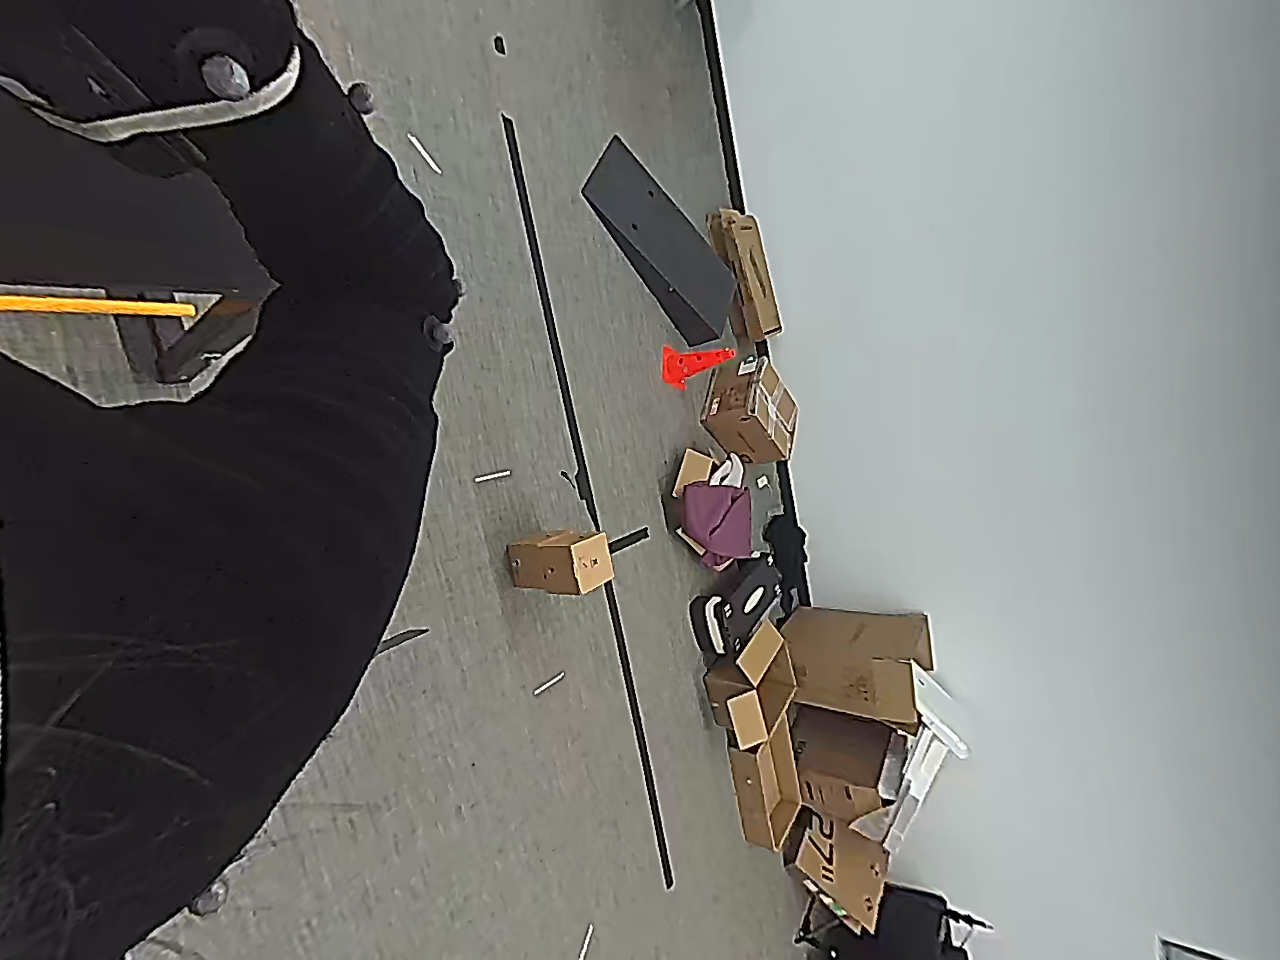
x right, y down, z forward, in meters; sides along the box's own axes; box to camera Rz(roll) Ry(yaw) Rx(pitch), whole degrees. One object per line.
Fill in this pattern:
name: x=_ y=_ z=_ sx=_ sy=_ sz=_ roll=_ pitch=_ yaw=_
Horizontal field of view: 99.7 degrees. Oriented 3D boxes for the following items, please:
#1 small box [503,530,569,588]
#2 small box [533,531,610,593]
small box: x=-0.357 y=0.276 z=1.929 sx=0.179 sy=0.176 sz=0.168 roll=-18 pitch=99 yaw=-51
small box: x=-0.230 y=0.272 z=1.822 sx=0.179 sy=0.176 sz=0.168 roll=-18 pitch=98 yaw=-52
